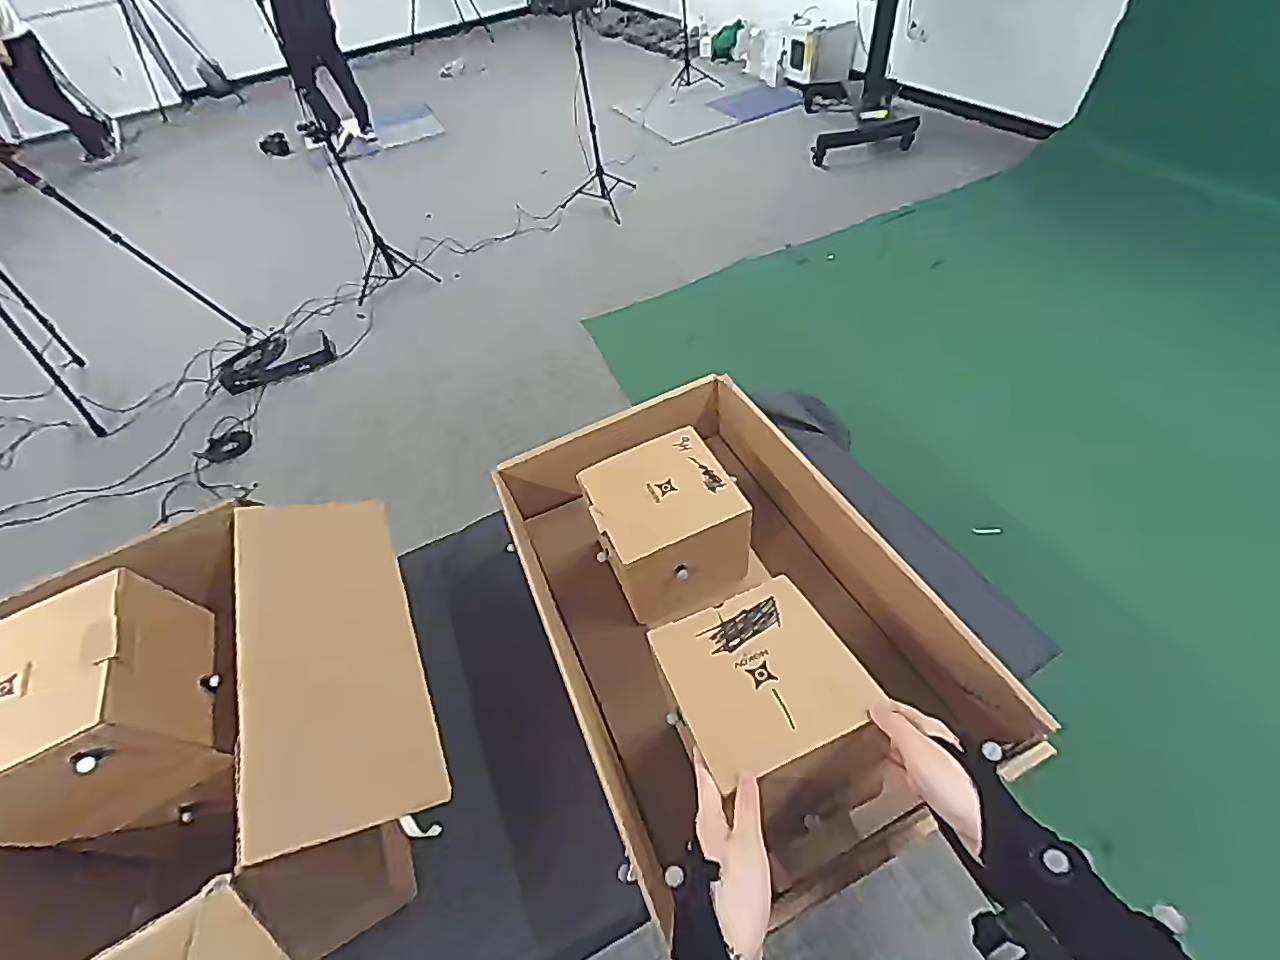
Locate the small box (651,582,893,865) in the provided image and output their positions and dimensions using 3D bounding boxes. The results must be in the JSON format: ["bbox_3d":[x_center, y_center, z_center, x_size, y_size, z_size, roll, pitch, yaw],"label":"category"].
[{"bbox_3d":[0.126,0.244,0.556,0.168,0.176,0.179,-21,37,-9],"label":"small box"}]
